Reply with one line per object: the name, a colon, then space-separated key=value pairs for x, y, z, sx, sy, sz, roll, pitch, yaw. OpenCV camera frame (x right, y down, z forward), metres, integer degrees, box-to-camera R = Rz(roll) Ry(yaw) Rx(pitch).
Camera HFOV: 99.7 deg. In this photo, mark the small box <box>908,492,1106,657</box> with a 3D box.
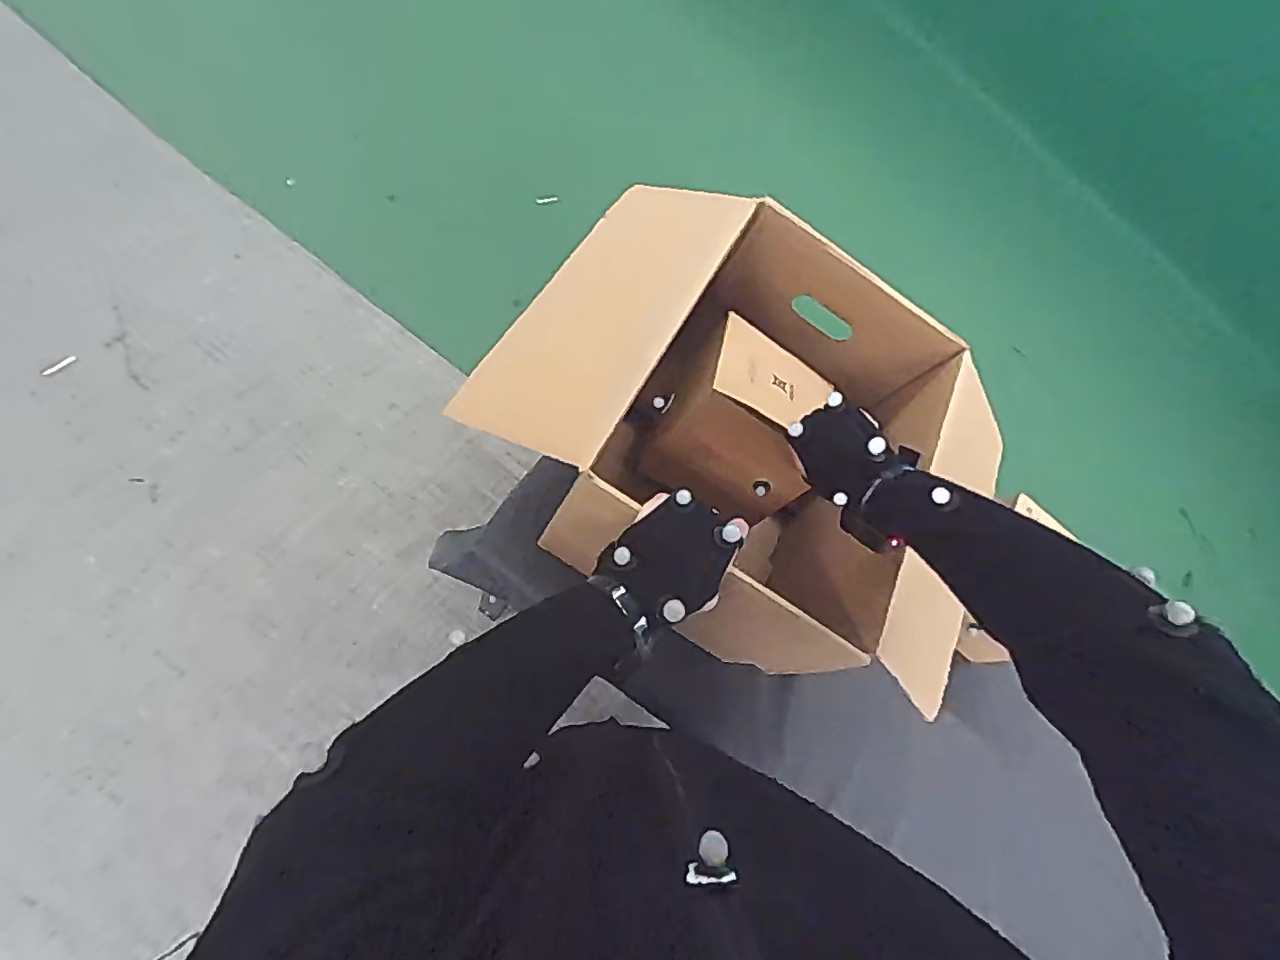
small box: x=0.554 y=0.152 z=0.836 sx=0.168 sy=0.176 sz=0.179 roll=42 pitch=66 yaw=-1
